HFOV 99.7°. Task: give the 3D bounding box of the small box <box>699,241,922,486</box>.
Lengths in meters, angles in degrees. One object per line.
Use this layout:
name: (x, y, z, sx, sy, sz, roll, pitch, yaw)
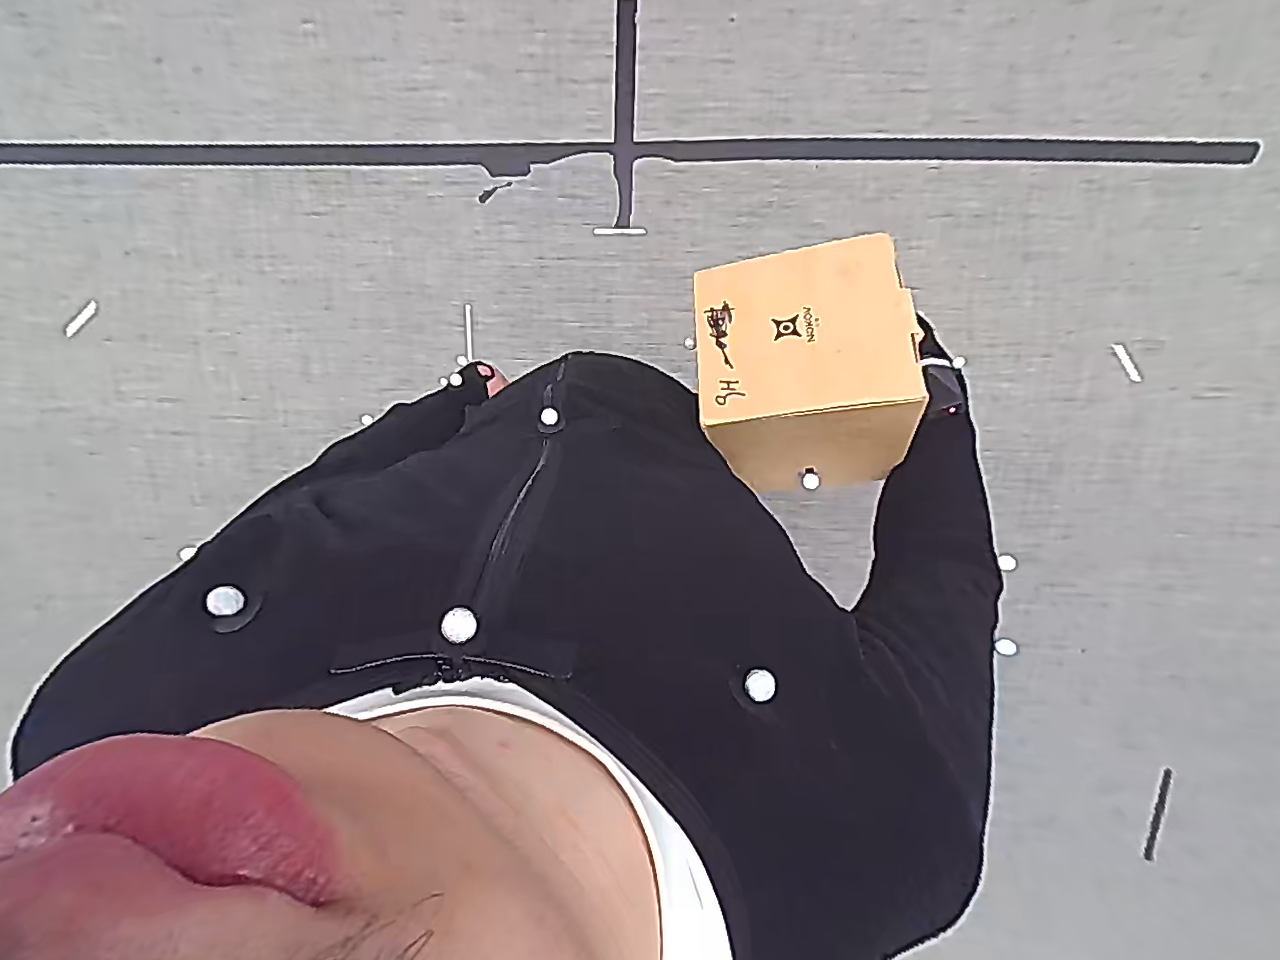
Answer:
small box: (0.159, -0.102, 0.545, 0.179, 0.176, 0.168, -5, 67, 14)
